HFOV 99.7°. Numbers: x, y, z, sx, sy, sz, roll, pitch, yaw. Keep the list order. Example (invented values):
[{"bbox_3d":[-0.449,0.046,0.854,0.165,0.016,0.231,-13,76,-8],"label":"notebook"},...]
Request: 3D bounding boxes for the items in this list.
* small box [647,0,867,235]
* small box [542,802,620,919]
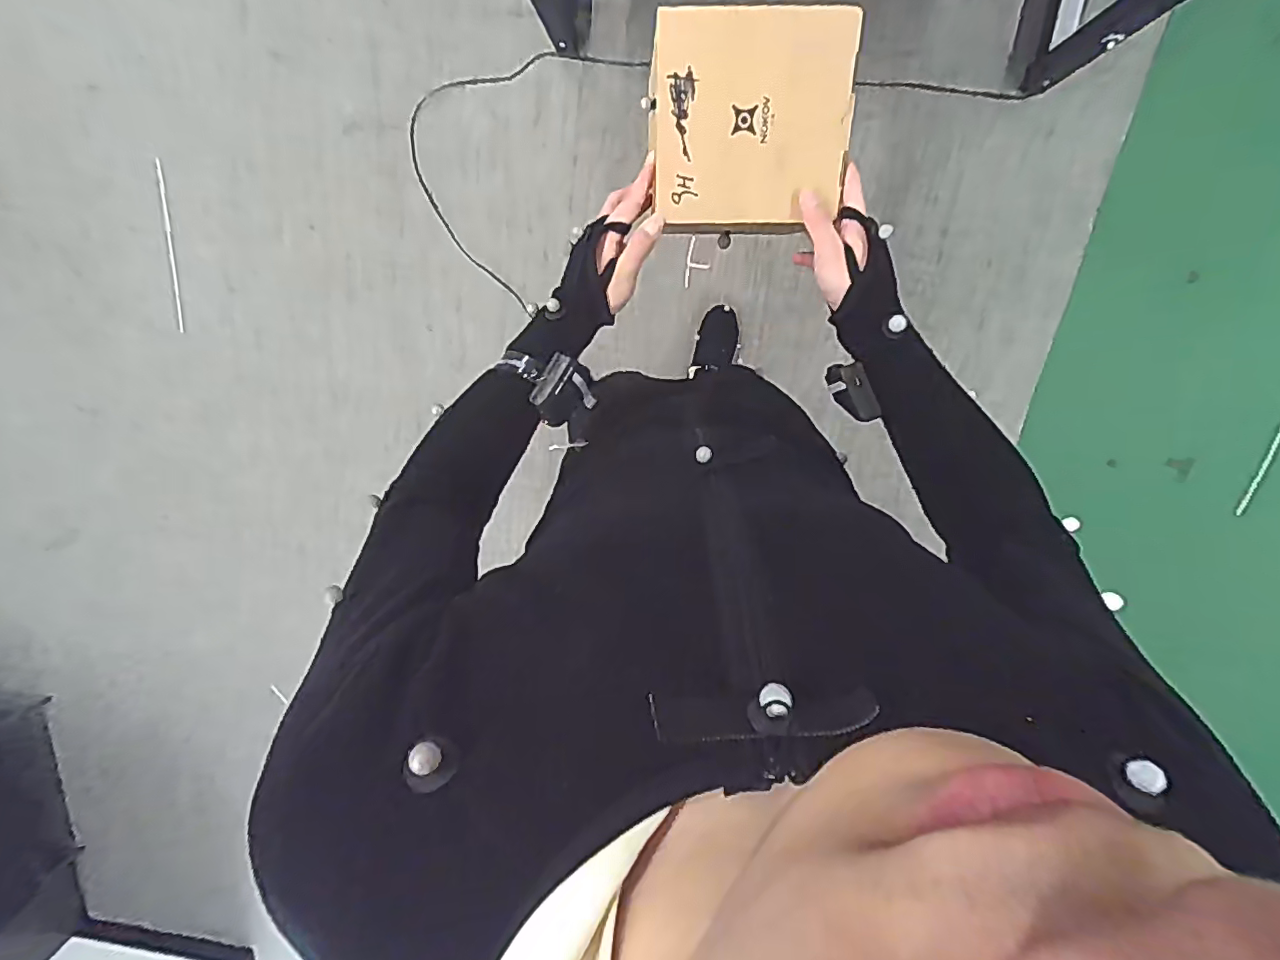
[{"bbox_3d":[0.100,-0.348,0.553,0.179,0.176,0.168,0,110,-2],"label":"small box"},{"bbox_3d":[-0.154,1.018,1.456,0.168,0.176,0.179,11,106,3],"label":"small box"}]
